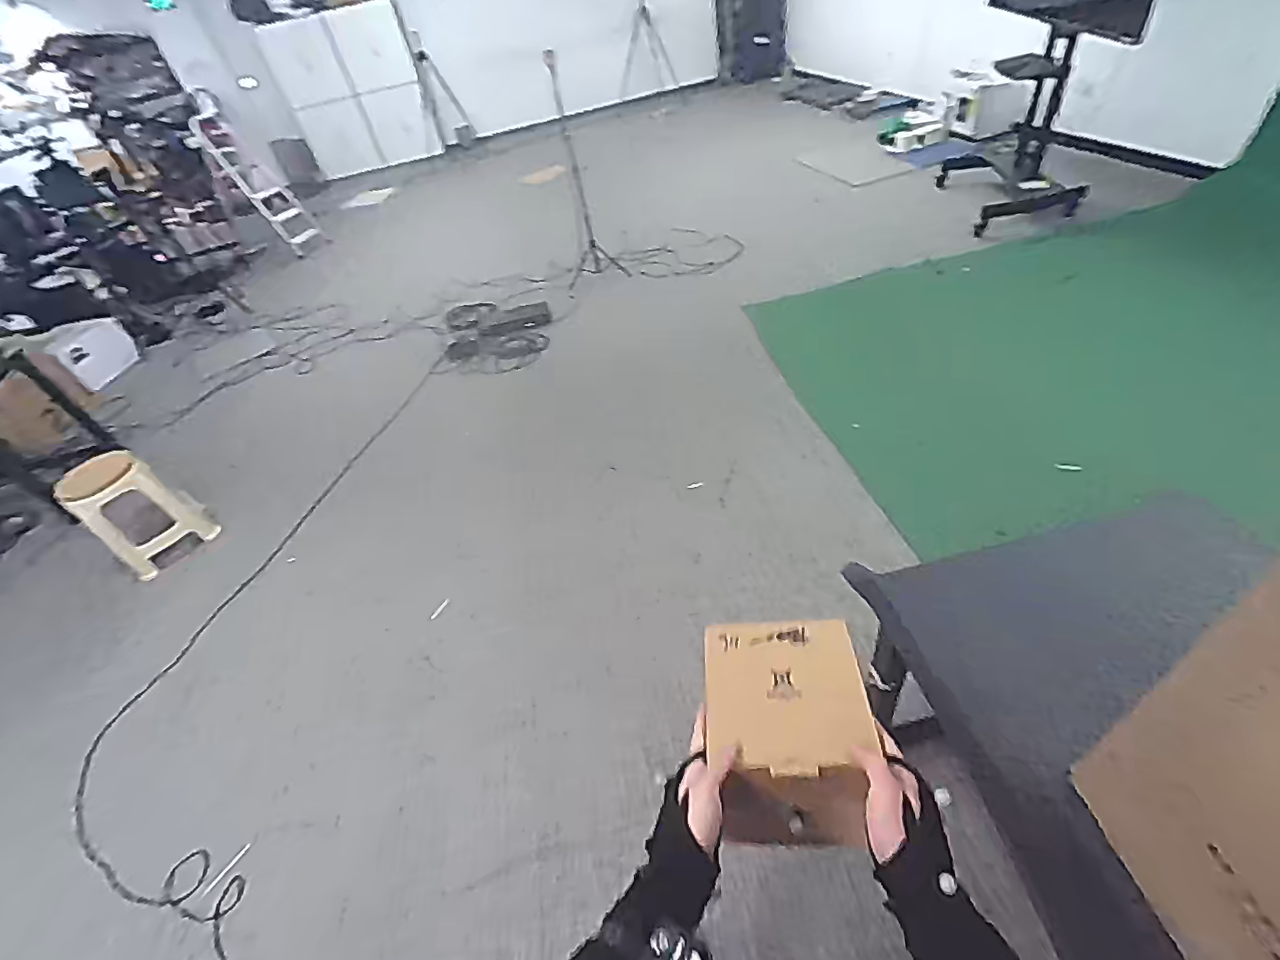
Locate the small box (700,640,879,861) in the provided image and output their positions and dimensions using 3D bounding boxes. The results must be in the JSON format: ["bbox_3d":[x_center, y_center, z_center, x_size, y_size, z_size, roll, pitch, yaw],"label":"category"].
[{"bbox_3d":[0.166,0.316,0.629,0.168,0.176,0.179,-8,33,7],"label":"small box"}]
